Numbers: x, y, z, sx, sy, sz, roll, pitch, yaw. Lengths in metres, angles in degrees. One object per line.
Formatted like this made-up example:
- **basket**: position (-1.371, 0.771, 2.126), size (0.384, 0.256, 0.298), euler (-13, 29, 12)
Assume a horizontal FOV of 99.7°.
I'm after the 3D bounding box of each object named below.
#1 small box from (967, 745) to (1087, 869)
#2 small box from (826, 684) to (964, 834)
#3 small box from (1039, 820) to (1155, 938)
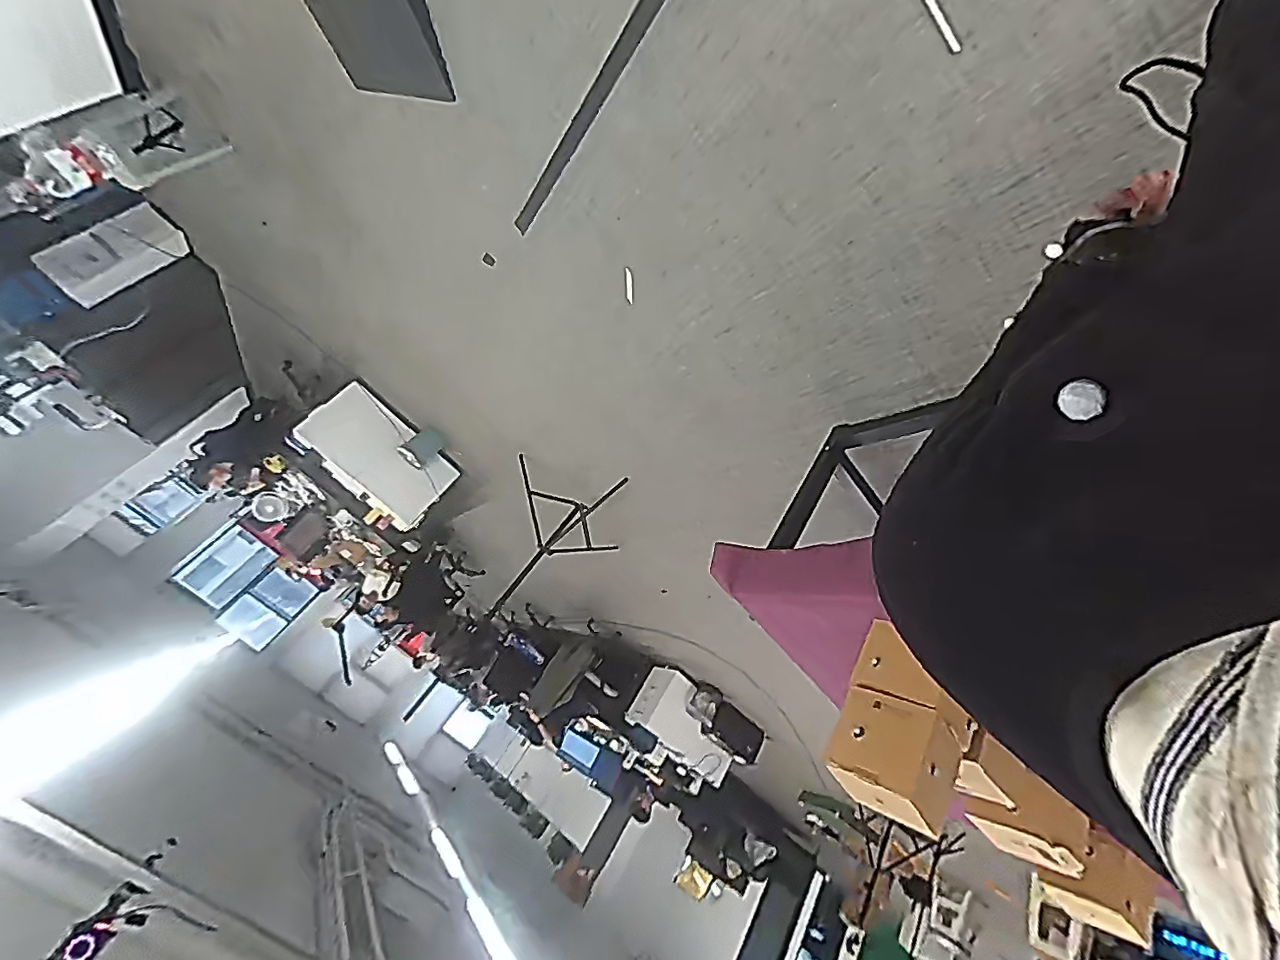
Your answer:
- **small box**: position (0.908, 0.750, 1.262), size (0.168, 0.176, 0.179), euler (45, 151, -15)
- **small box**: position (0.487, 0.519, 1.026), size (0.168, 0.176, 0.179), euler (1, 138, 50)
- **small box**: position (1.137, 0.967, 1.342), size (0.179, 0.176, 0.168), euler (45, 151, -15)
